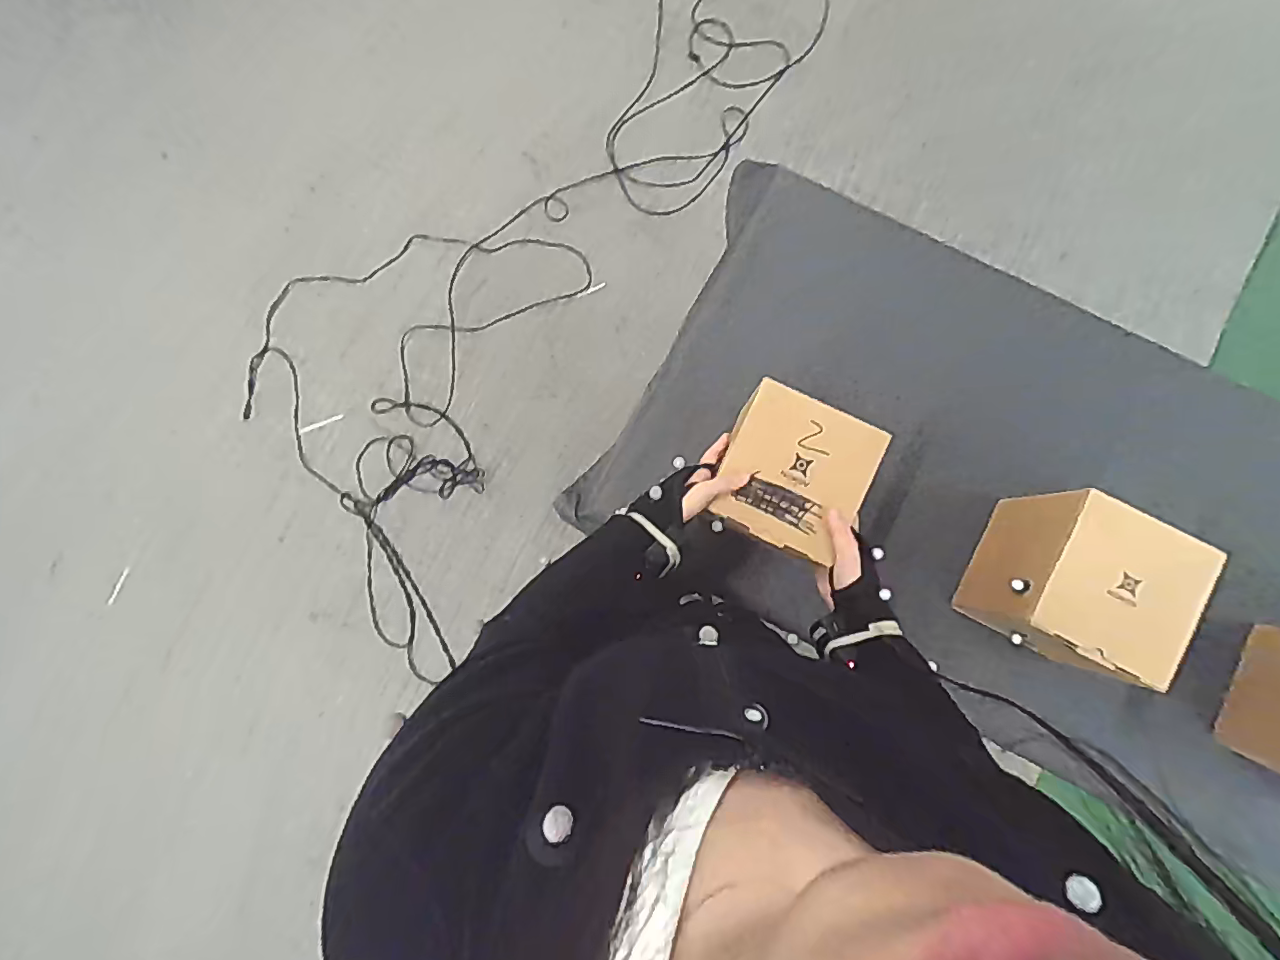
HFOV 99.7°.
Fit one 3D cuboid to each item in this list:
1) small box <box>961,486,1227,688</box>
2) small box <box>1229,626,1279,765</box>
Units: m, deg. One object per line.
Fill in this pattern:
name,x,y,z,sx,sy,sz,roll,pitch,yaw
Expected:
small box,0.552,0.125,0.686,0.168,0.176,0.179,27,87,5
small box,0.888,0.295,0.648,0.168,0.176,0.179,26,86,6
